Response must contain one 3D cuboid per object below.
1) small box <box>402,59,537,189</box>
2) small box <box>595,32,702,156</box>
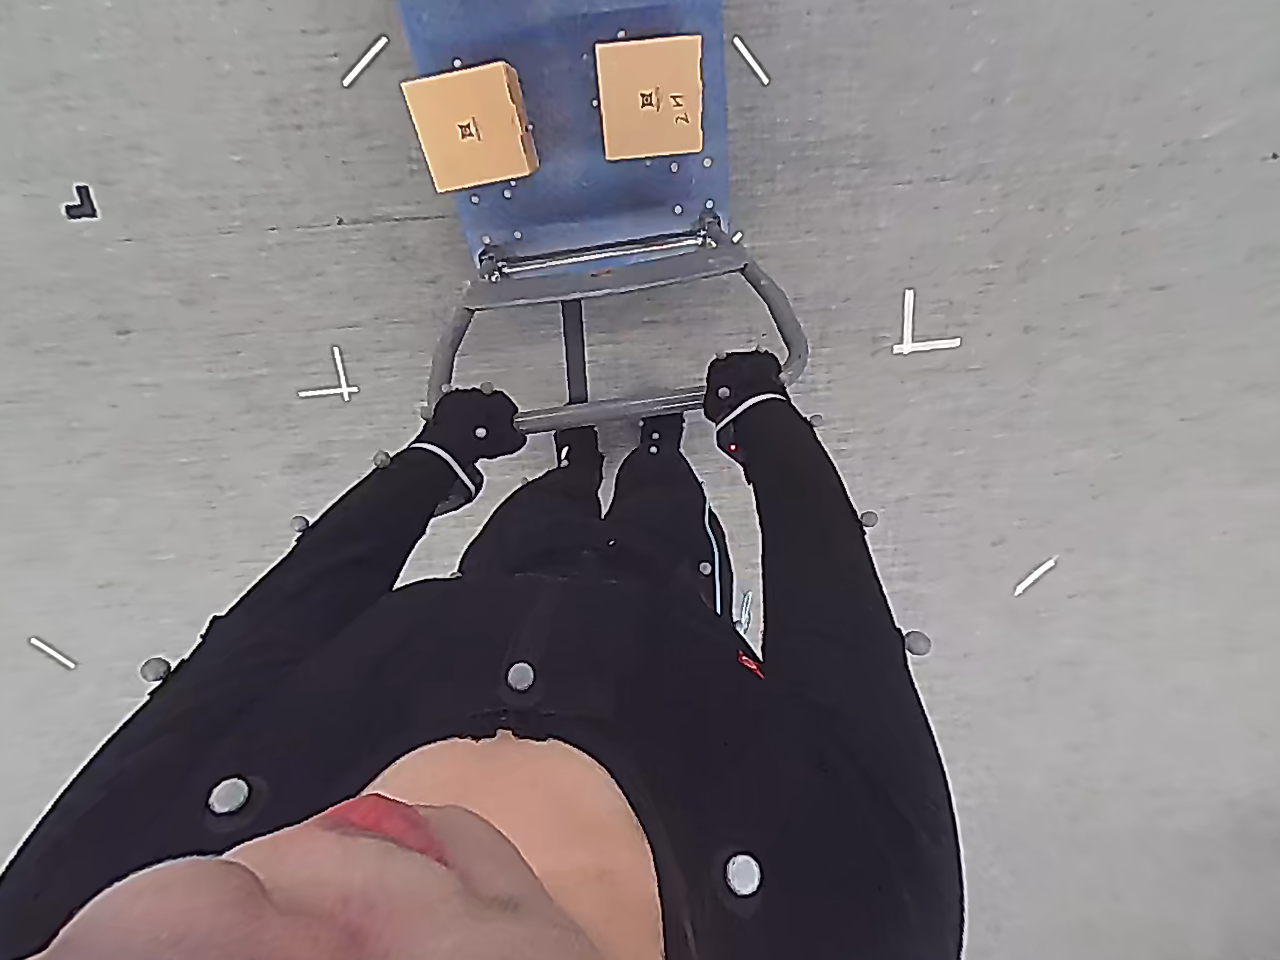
[{"bbox_3d":[-0.298,-0.643,0.988,0.179,0.176,0.168,-11,123,1],"label":"small box"},{"bbox_3d":[0.014,-0.692,0.982,0.179,0.176,0.168,-6,124,-1],"label":"small box"}]
